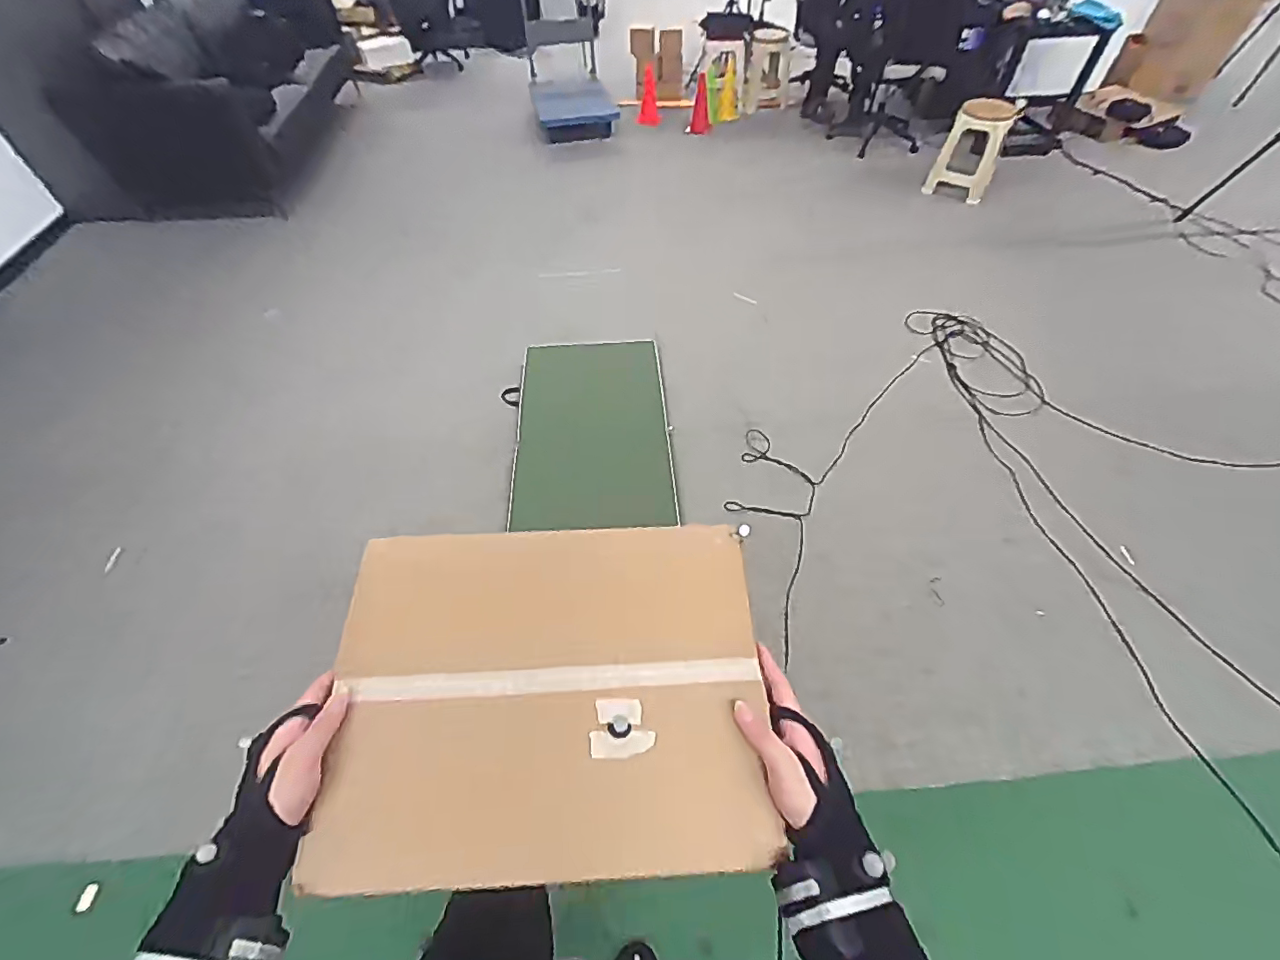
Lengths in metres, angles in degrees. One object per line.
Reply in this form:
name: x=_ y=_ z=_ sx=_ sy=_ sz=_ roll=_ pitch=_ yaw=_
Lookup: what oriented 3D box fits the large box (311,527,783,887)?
large box: x=-0.088 y=0.270 z=0.655 sx=0.408 sy=0.320 sz=0.320 roll=-2 pitch=59 yaw=-3
